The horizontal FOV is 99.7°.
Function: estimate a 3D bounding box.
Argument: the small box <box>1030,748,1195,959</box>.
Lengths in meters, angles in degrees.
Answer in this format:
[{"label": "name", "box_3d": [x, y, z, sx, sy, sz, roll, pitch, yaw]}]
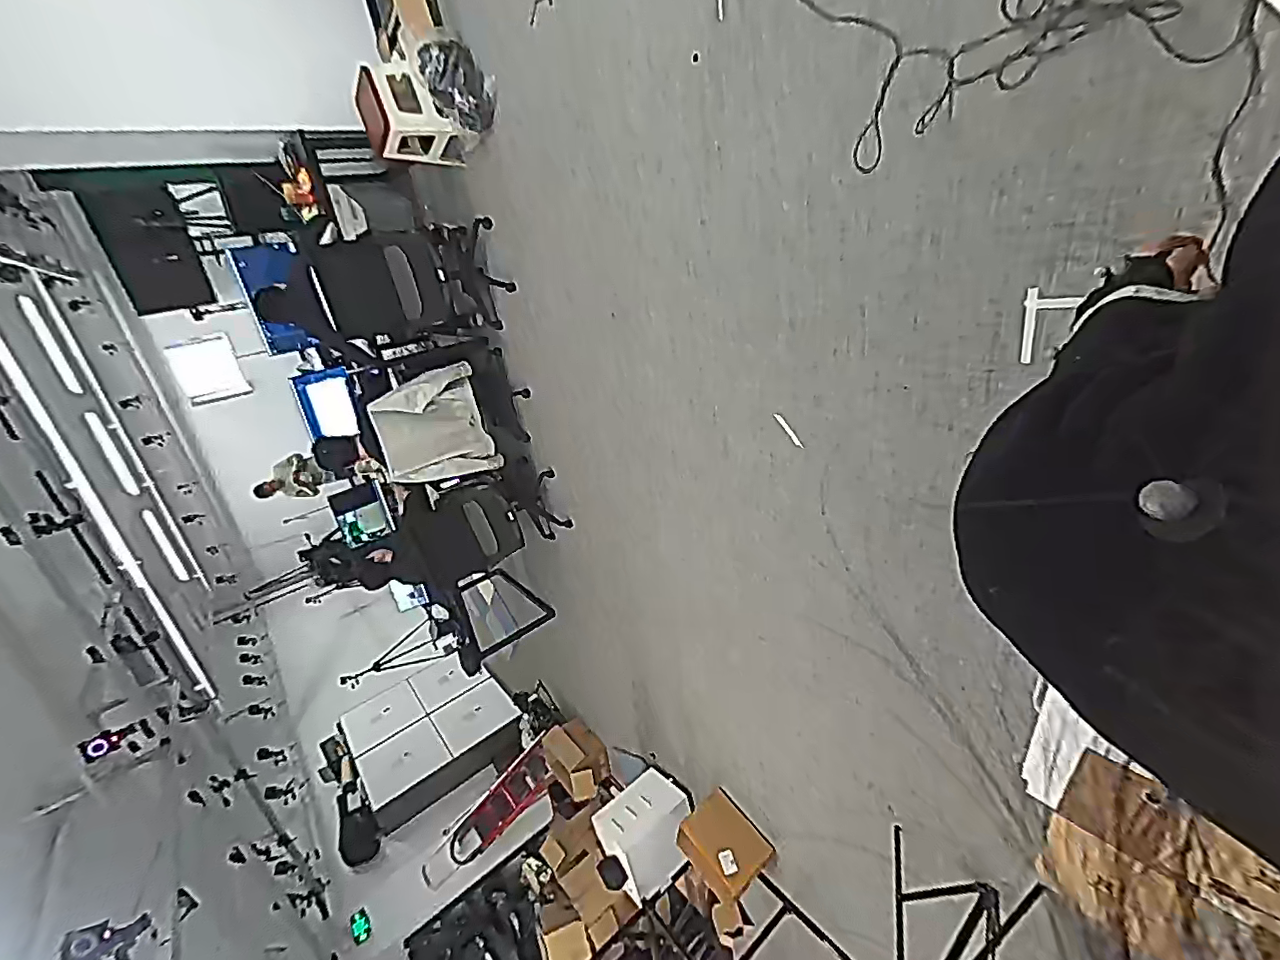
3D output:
[{"label": "small box", "box_3d": [0.757, 0.577, 0.856, 0.168, 0.176, 0.179, 21, 126, 46]}]

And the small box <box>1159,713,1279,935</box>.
[{"label": "small box", "box_3d": [0.810, 0.438, 0.682, 0.168, 0.176, 0.179, 26, 131, 45]}]
